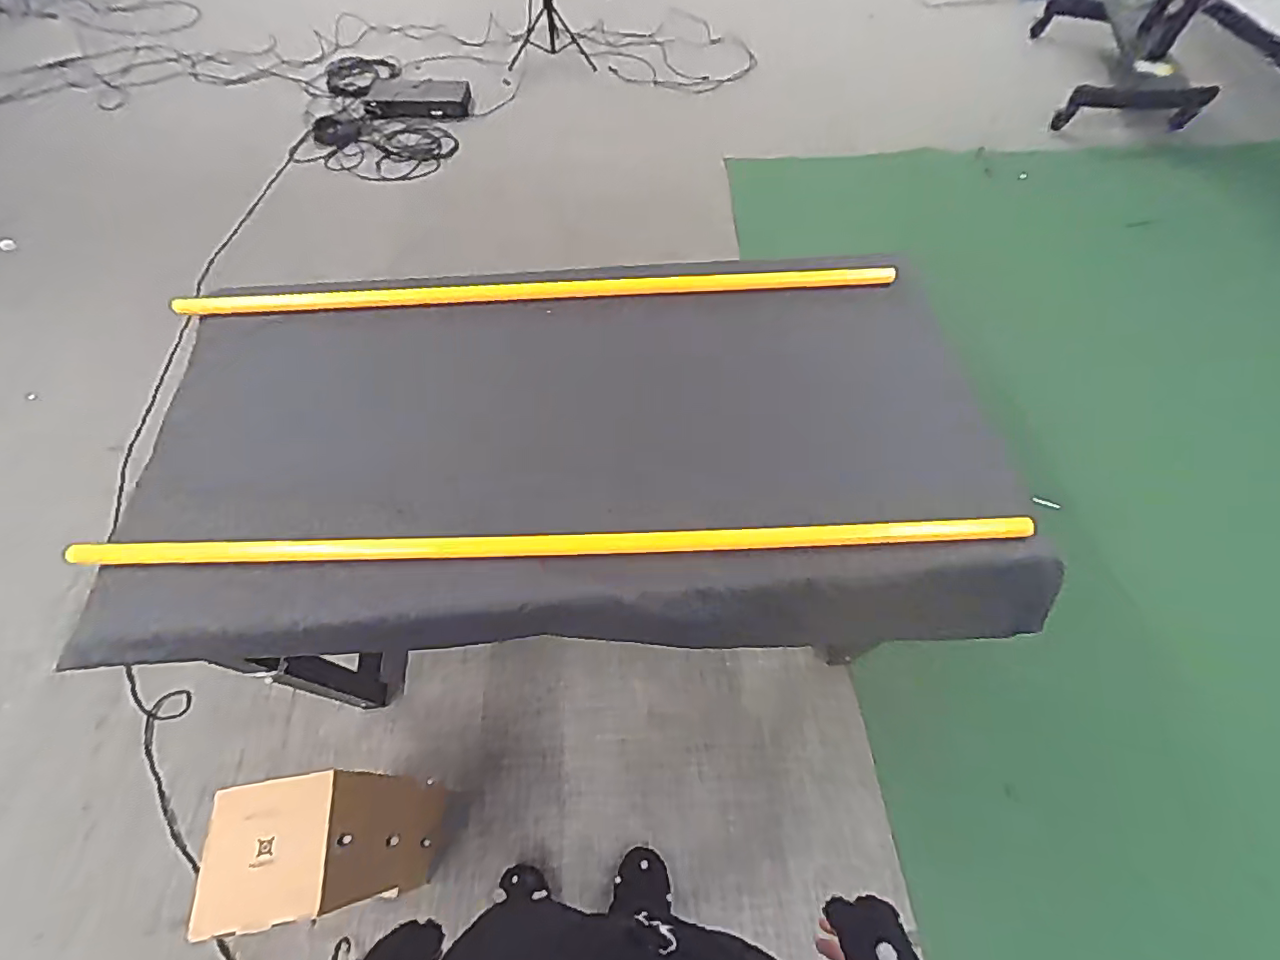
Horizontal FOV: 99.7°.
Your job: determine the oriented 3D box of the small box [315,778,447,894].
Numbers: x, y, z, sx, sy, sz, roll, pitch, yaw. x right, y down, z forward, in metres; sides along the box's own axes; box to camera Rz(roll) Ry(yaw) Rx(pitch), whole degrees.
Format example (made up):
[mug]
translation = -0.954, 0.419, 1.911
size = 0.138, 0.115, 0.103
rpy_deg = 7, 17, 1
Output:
[small box]
translation = -0.507, 0.708, 1.090
size = 0.168, 0.176, 0.179
rpy_deg = 3, 61, 2
